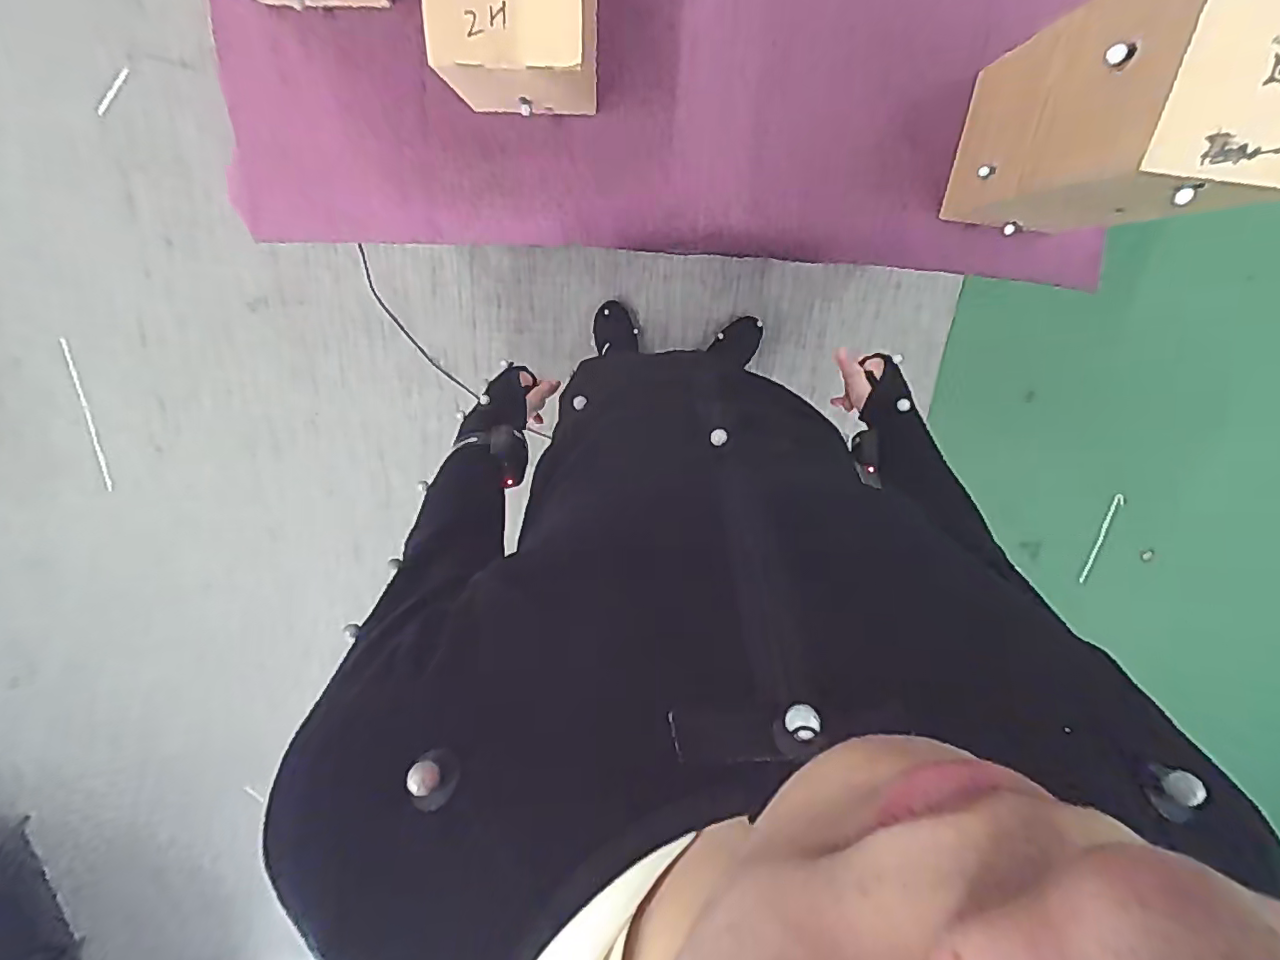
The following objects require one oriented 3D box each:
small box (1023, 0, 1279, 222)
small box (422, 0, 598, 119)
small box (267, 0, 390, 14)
[{"bbox_3d":[0.501,-0.352,0.497,0.168,0.176,0.179,7,109,0],"label":"small box"},{"bbox_3d":[-0.138,-0.542,0.617,0.168,0.176,0.179,3,110,1],"label":"small box"},{"bbox_3d":[-0.395,-0.650,0.583,0.168,0.176,0.179,1,111,1],"label":"small box"}]
